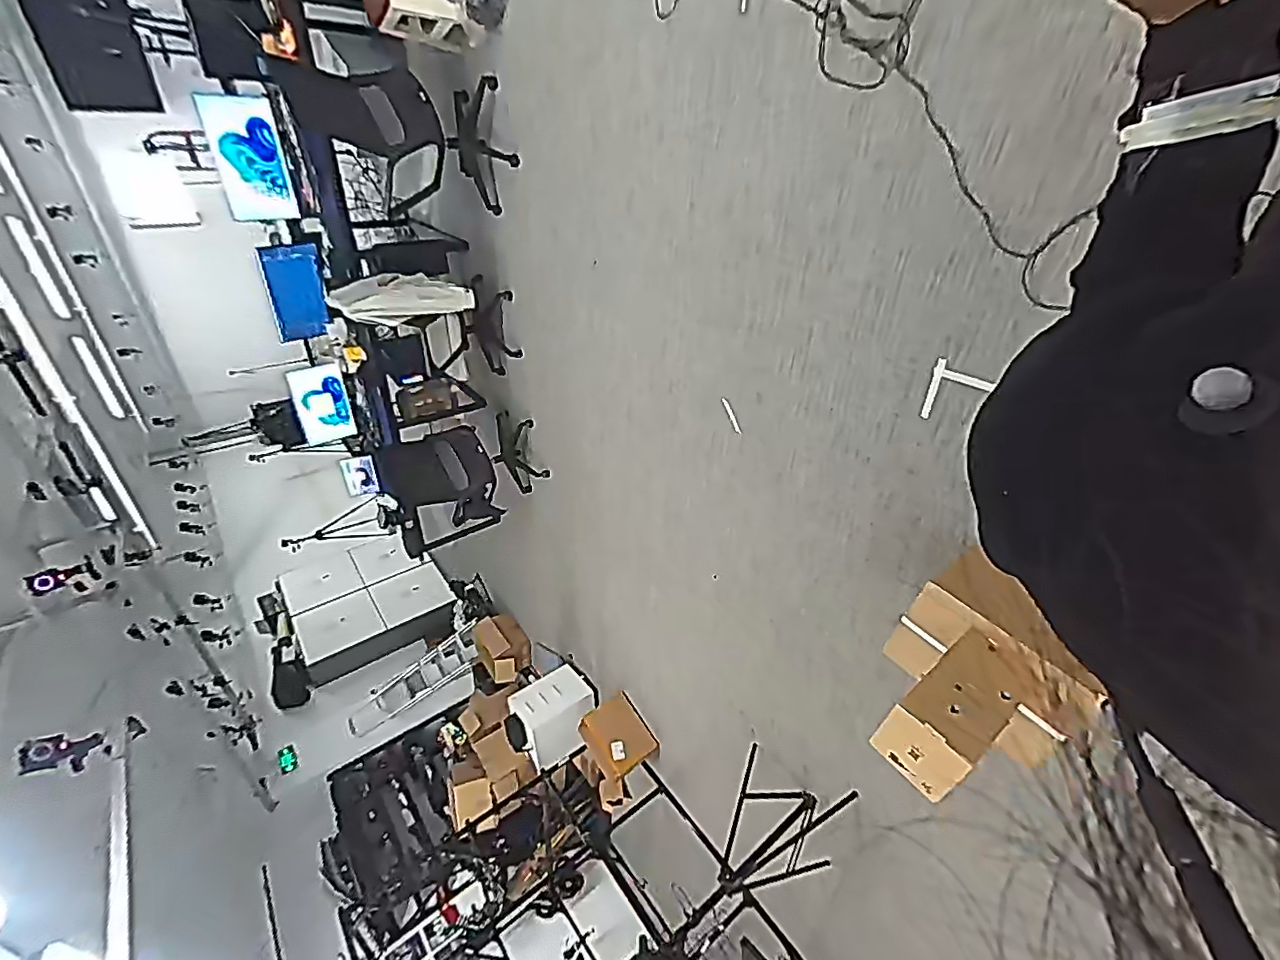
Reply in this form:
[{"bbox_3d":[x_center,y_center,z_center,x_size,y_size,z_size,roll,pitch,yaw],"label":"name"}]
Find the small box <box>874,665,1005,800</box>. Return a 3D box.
[{"bbox_3d":[0.652,0.541,1.175,0.168,0.176,0.179,42,139,36],"label":"small box"}]
